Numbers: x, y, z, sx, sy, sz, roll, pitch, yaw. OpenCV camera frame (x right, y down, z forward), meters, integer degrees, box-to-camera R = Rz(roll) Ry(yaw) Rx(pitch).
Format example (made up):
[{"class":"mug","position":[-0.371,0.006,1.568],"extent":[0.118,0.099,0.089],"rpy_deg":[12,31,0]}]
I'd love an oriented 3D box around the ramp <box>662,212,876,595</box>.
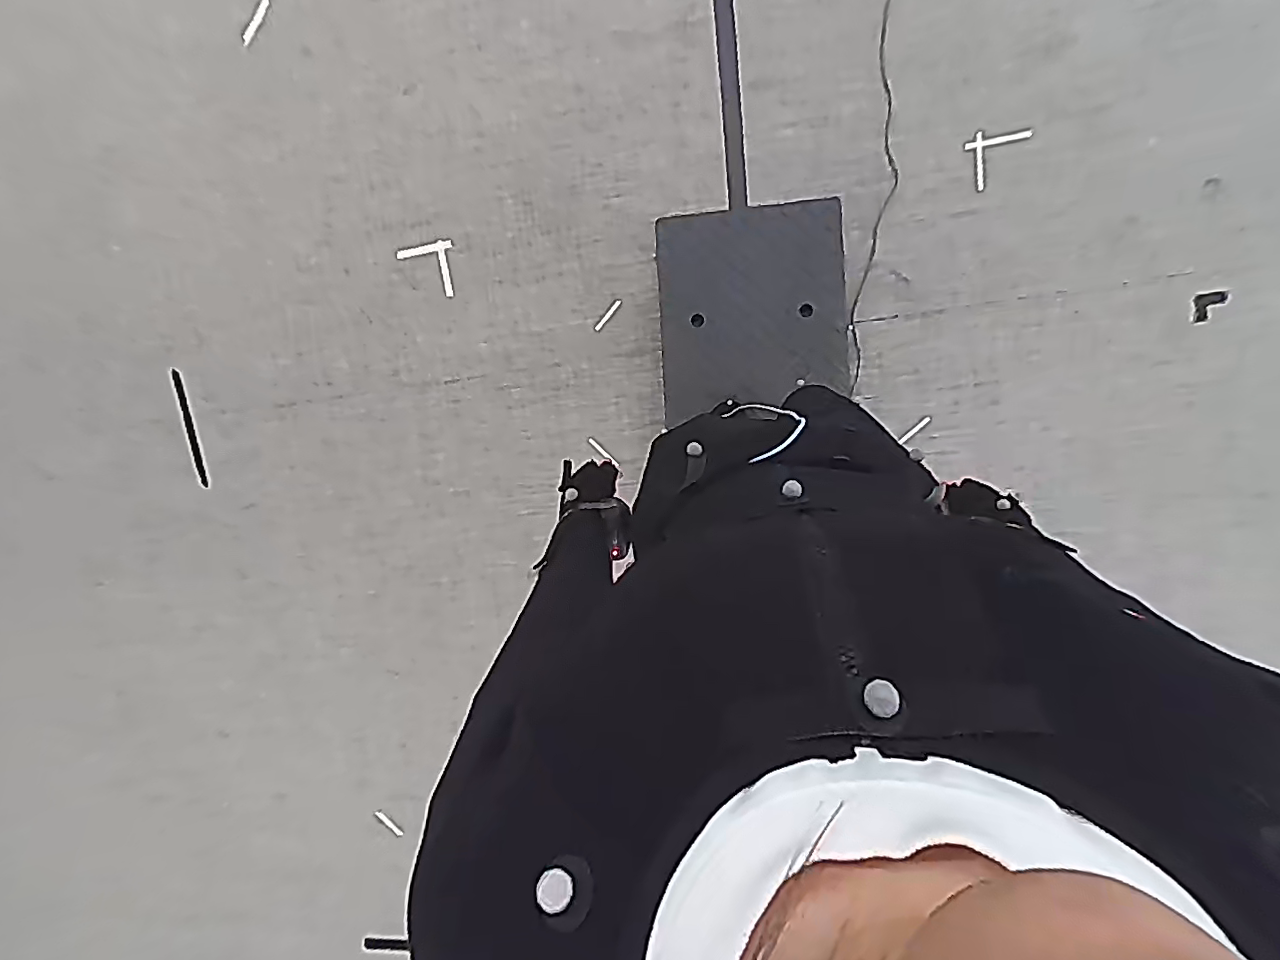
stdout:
[{"class":"ramp","position":[0.330,-0.201,1.455],"extent":[0.509,0.206,0.991],"rpy_deg":[-6,97,11]}]
